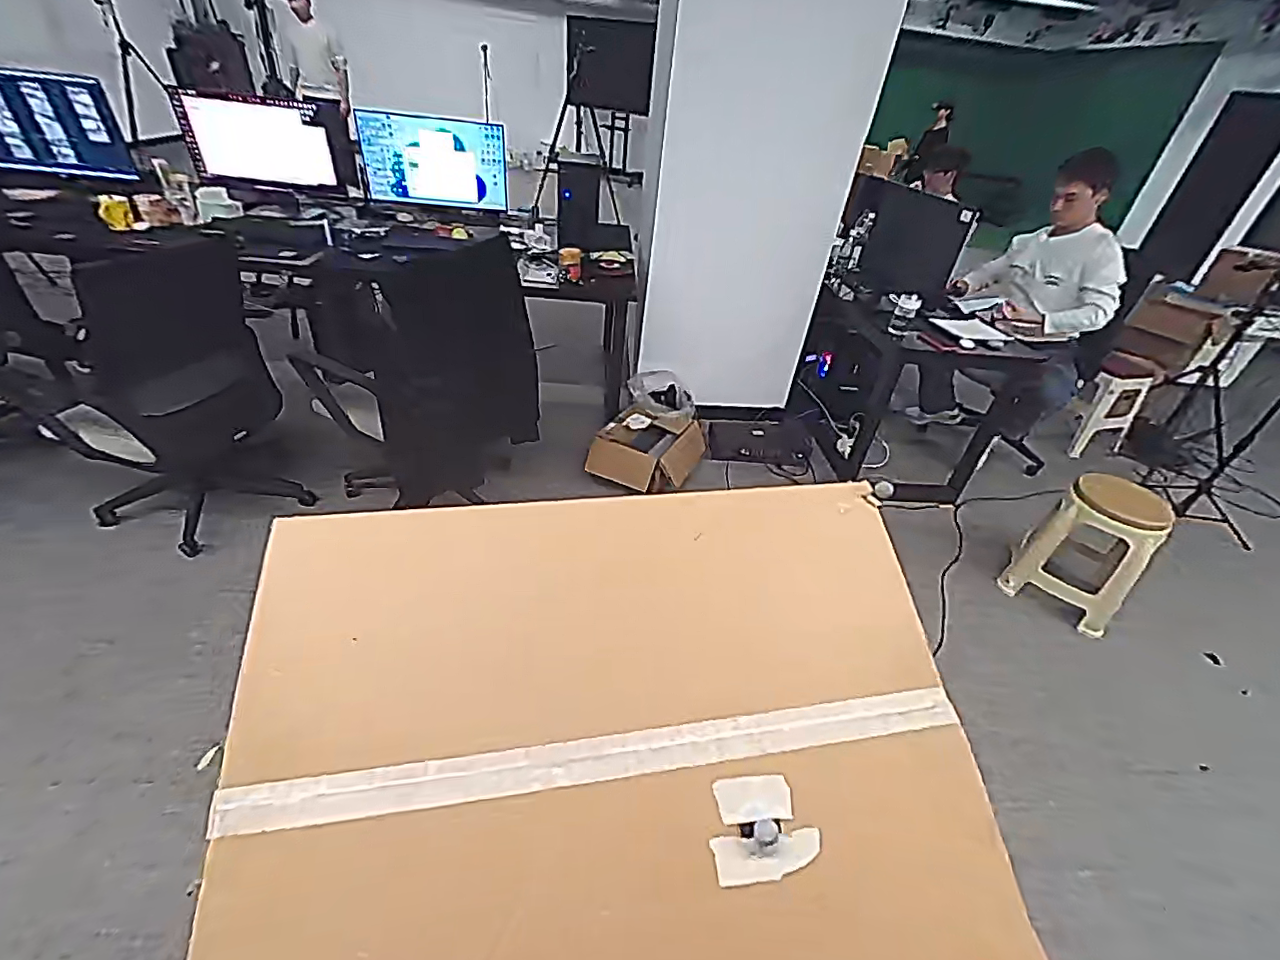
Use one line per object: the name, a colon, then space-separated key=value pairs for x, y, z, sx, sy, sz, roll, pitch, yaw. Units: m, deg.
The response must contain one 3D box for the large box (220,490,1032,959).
large box: x=-0.026 y=0.226 z=0.437 sx=0.408 sy=0.320 sz=0.320 roll=-4 pitch=63 yaw=-10
